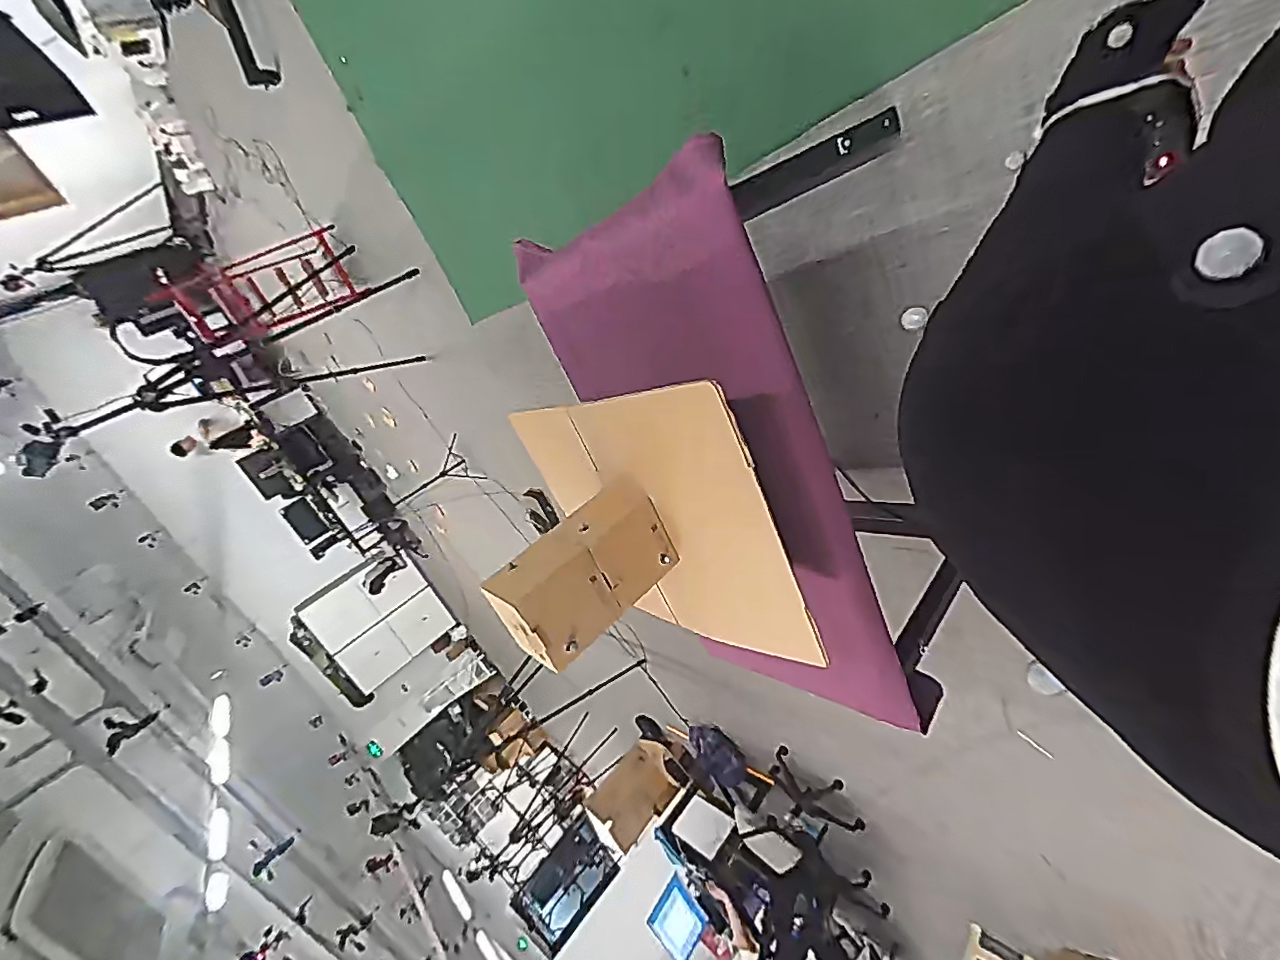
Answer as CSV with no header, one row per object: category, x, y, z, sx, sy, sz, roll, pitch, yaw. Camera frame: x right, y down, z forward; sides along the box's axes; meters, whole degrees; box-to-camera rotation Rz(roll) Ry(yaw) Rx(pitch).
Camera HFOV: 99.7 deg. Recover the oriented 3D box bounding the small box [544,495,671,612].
small box,-0.058,0.144,1.119,0.179,0.176,0.168,0,124,52
